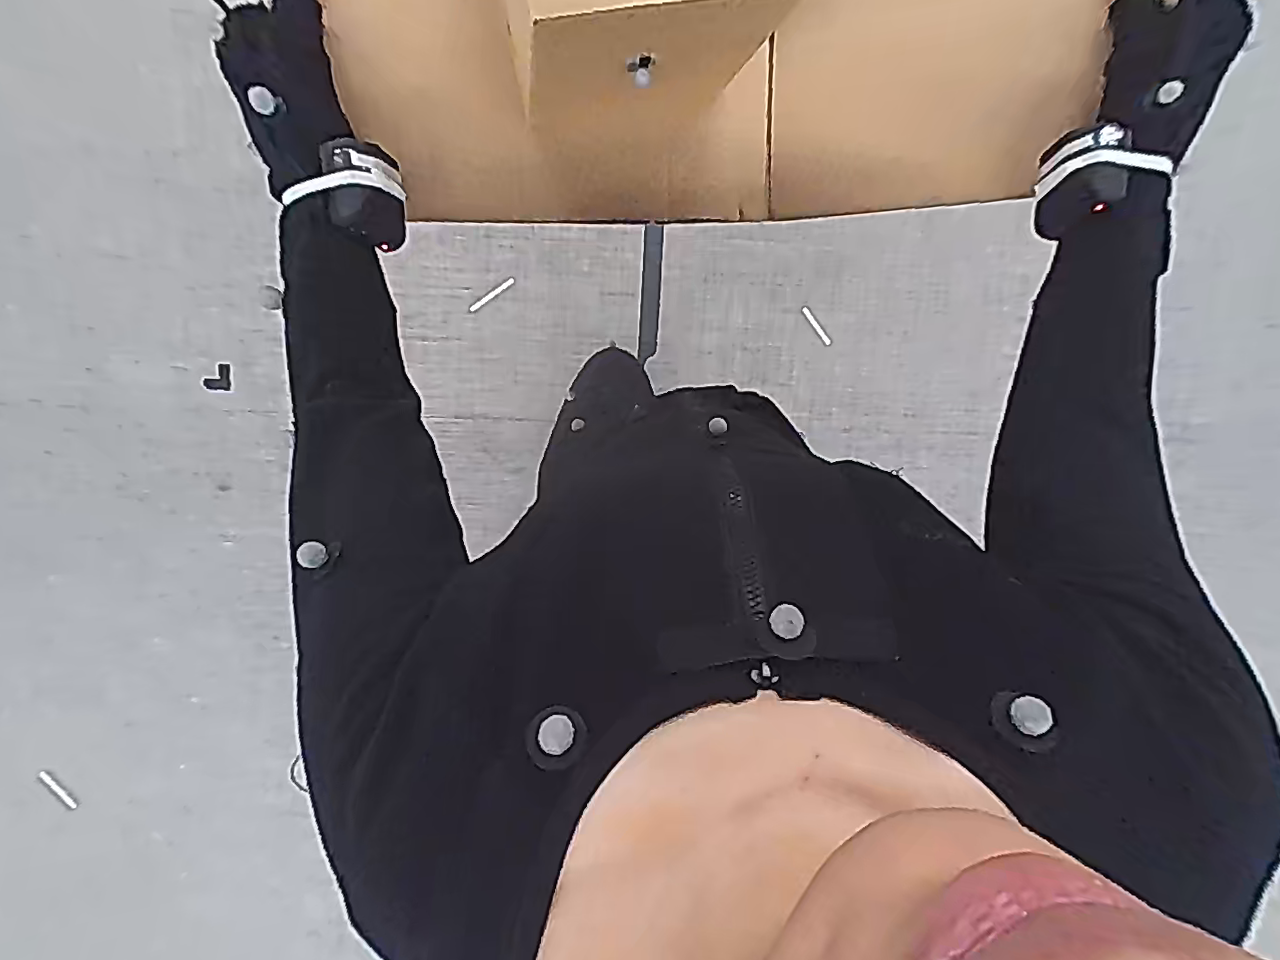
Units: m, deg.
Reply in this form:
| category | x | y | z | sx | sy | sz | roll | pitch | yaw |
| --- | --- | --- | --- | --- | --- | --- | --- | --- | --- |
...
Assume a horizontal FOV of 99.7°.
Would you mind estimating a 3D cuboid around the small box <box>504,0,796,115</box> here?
| category | x | y | z | sx | sy | sz | roll | pitch | yaw |
| --- | --- | --- | --- | --- | --- | --- | --- | --- | --- |
| small box | -0.010 | -0.385 | 0.377 | 0.179 | 0.176 | 0.168 | -14 | 108 | -8 |
